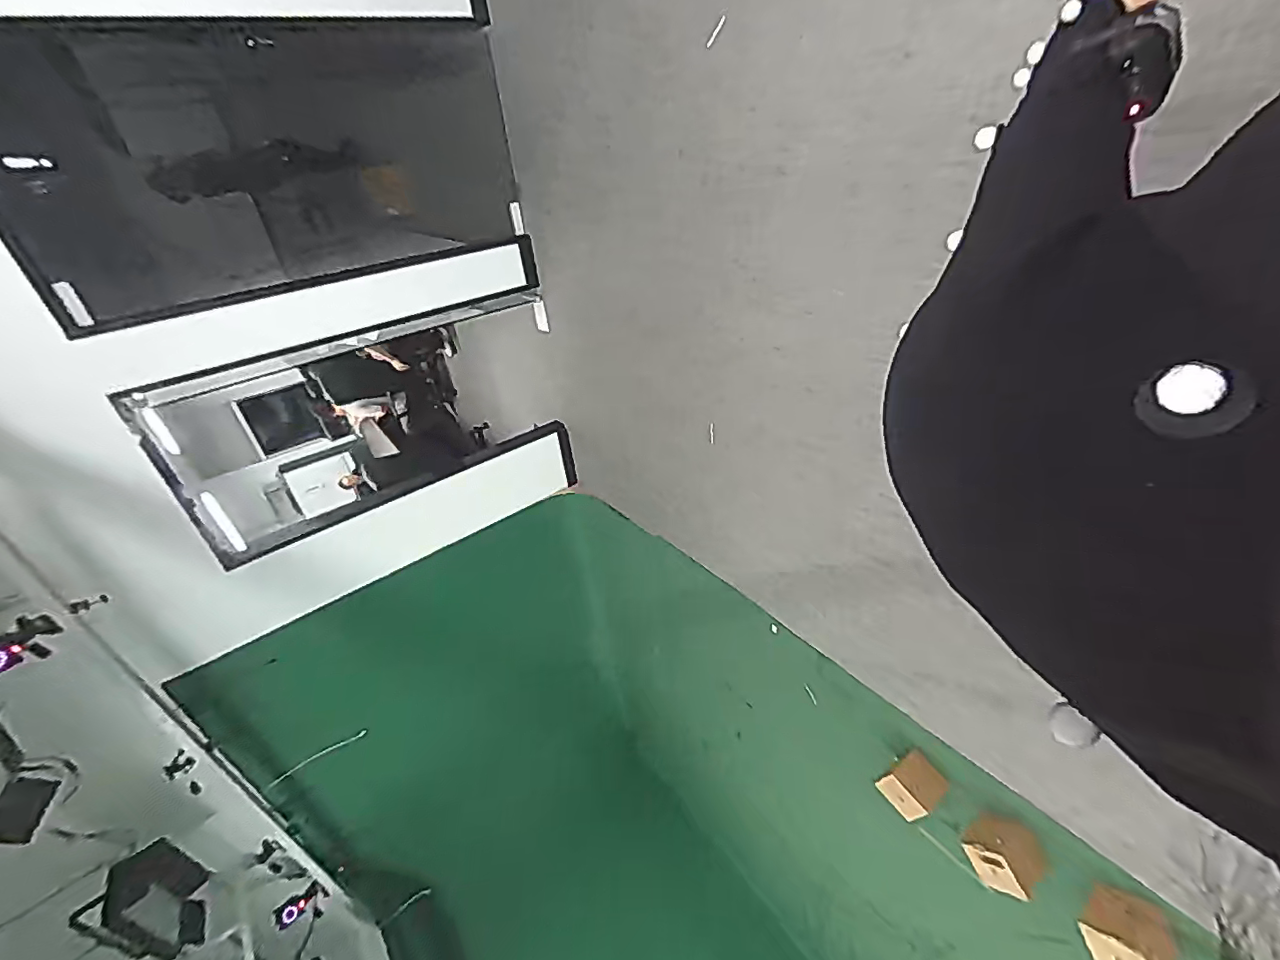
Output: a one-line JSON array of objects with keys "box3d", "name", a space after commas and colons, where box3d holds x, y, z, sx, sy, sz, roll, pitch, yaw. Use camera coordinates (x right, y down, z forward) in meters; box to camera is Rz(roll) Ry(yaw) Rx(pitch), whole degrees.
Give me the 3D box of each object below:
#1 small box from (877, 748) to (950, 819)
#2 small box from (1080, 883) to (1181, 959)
[{"box3d": [1.116, 1.234, 2.203, 0.179, 0.176, 0.168, 47, 147, 28], "name": "small box"}, {"box3d": [1.530, 1.425, 1.684, 0.168, 0.176, 0.179, -20, 95, 62], "name": "small box"}]
